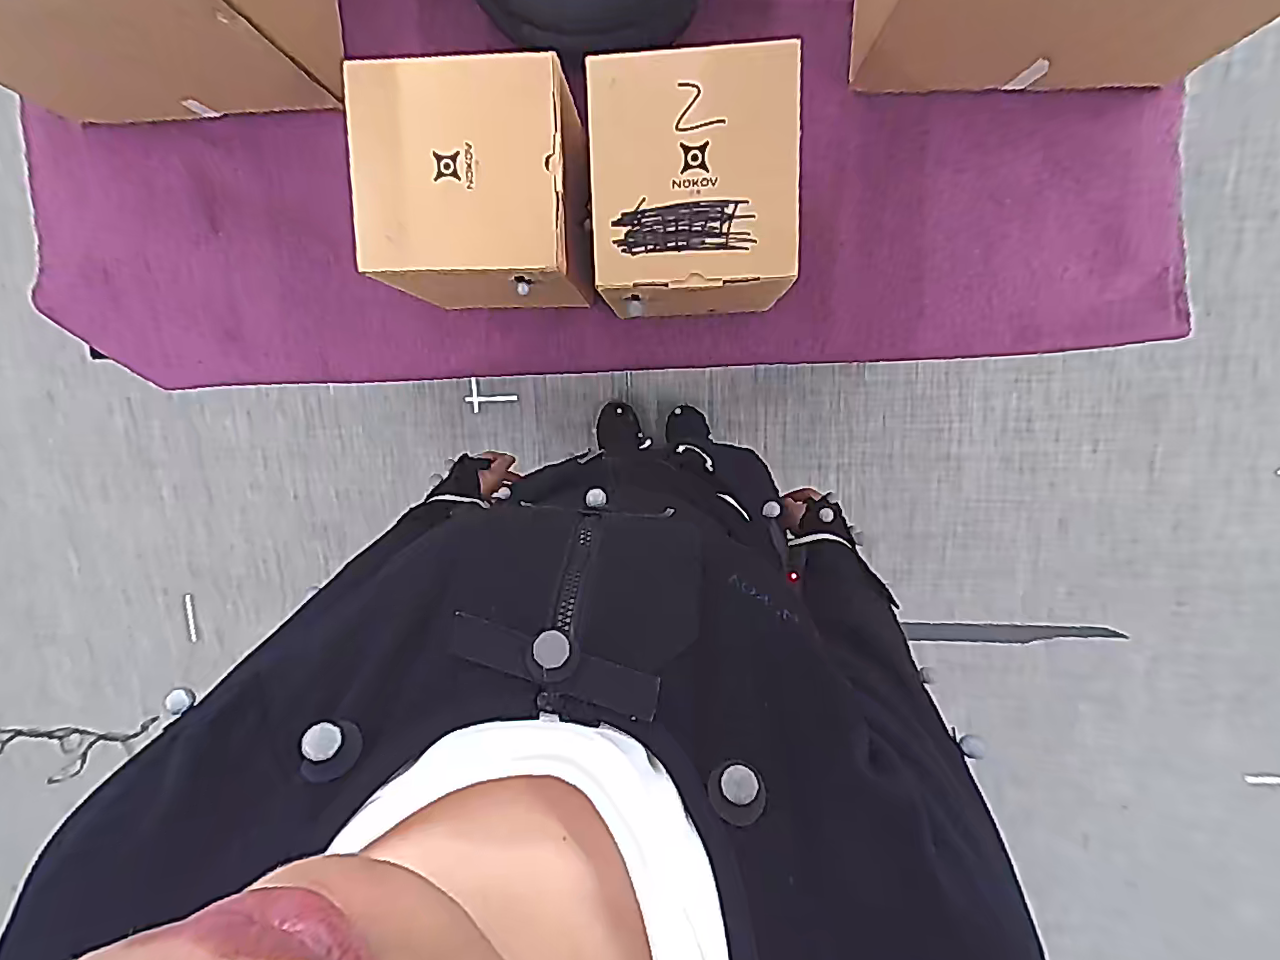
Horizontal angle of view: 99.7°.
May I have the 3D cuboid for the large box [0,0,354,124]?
[{"bbox_3d":[-0.479,-0.573,0.423,0.320,0.320,0.408,-3,101,3],"label":"large box"}]
